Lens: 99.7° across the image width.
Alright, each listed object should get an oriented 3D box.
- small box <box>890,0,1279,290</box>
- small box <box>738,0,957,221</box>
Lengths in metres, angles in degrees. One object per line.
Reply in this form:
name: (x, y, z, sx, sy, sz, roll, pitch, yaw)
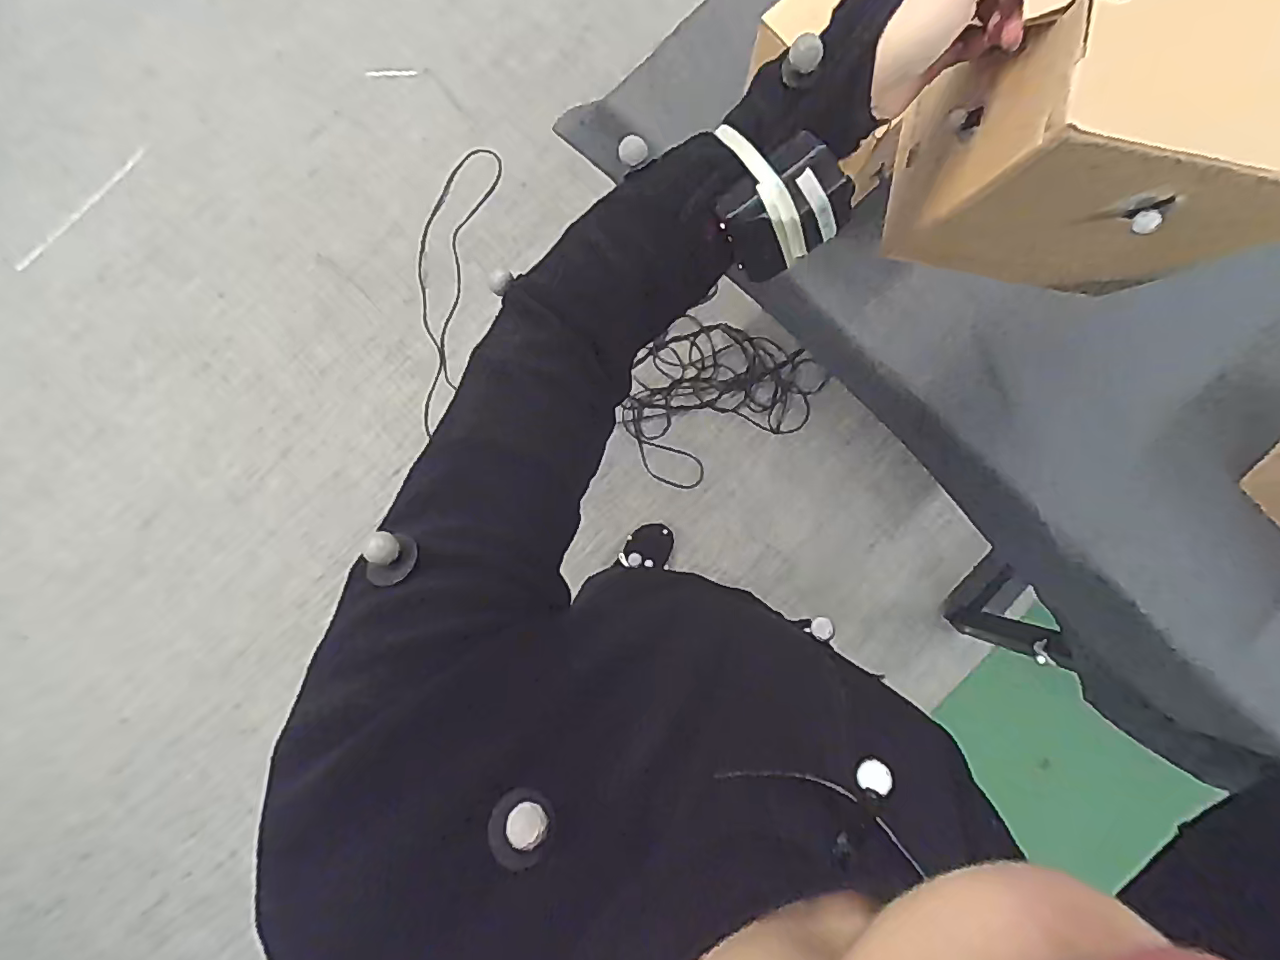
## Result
small box: (0.276, -0.223, 0.312, 0.179, 0.176, 0.168, 9, 94, -4)
small box: (0.235, -0.442, 0.614, 0.168, 0.176, 0.179, -42, 87, -3)
